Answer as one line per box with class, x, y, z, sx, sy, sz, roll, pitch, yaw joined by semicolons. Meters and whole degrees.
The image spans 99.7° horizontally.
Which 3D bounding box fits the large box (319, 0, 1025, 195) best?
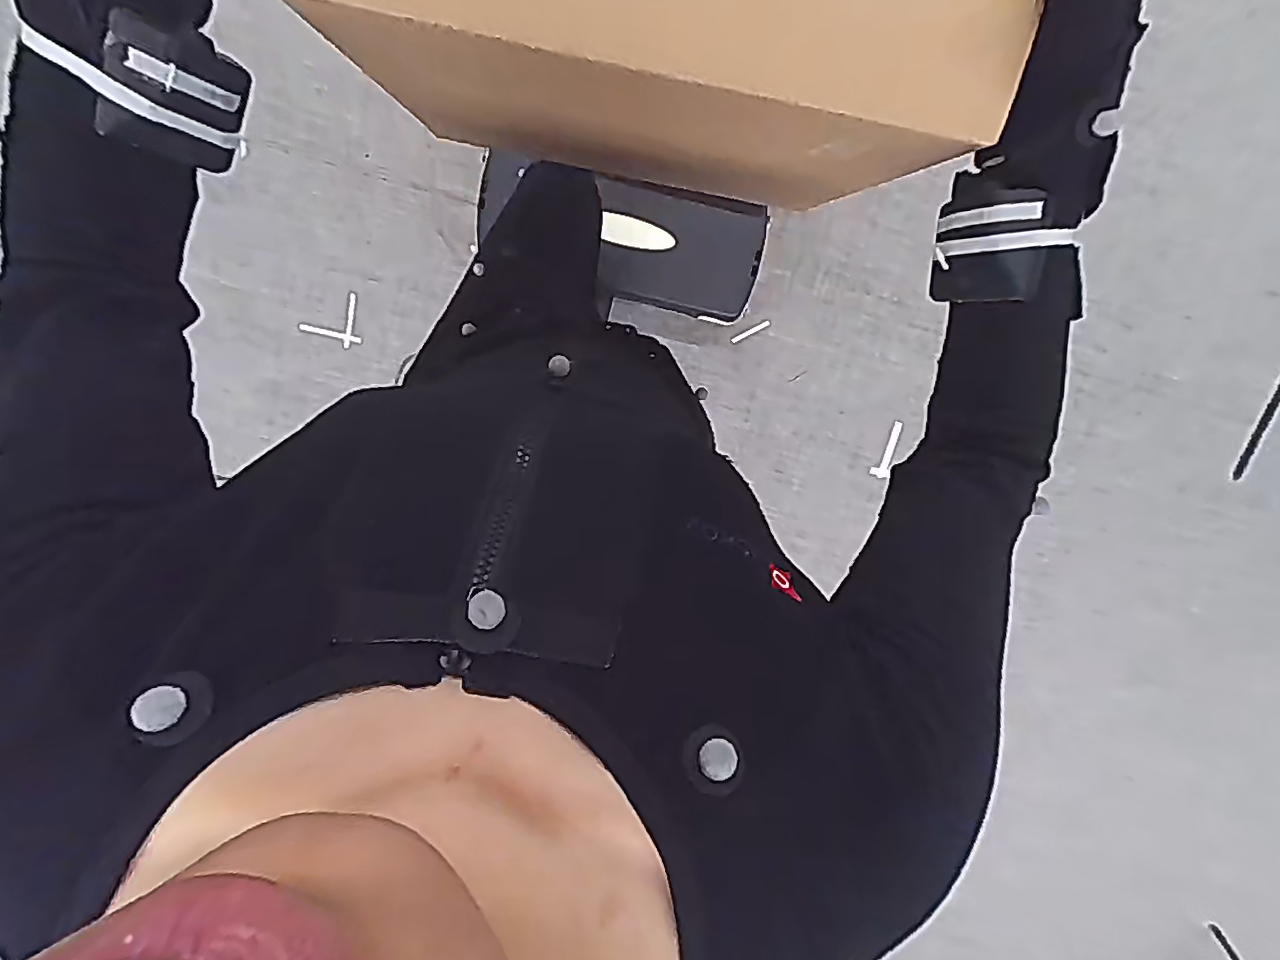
large box;0.023;-0.427;0.391;0.408;0.320;0.320;7;110;-8
